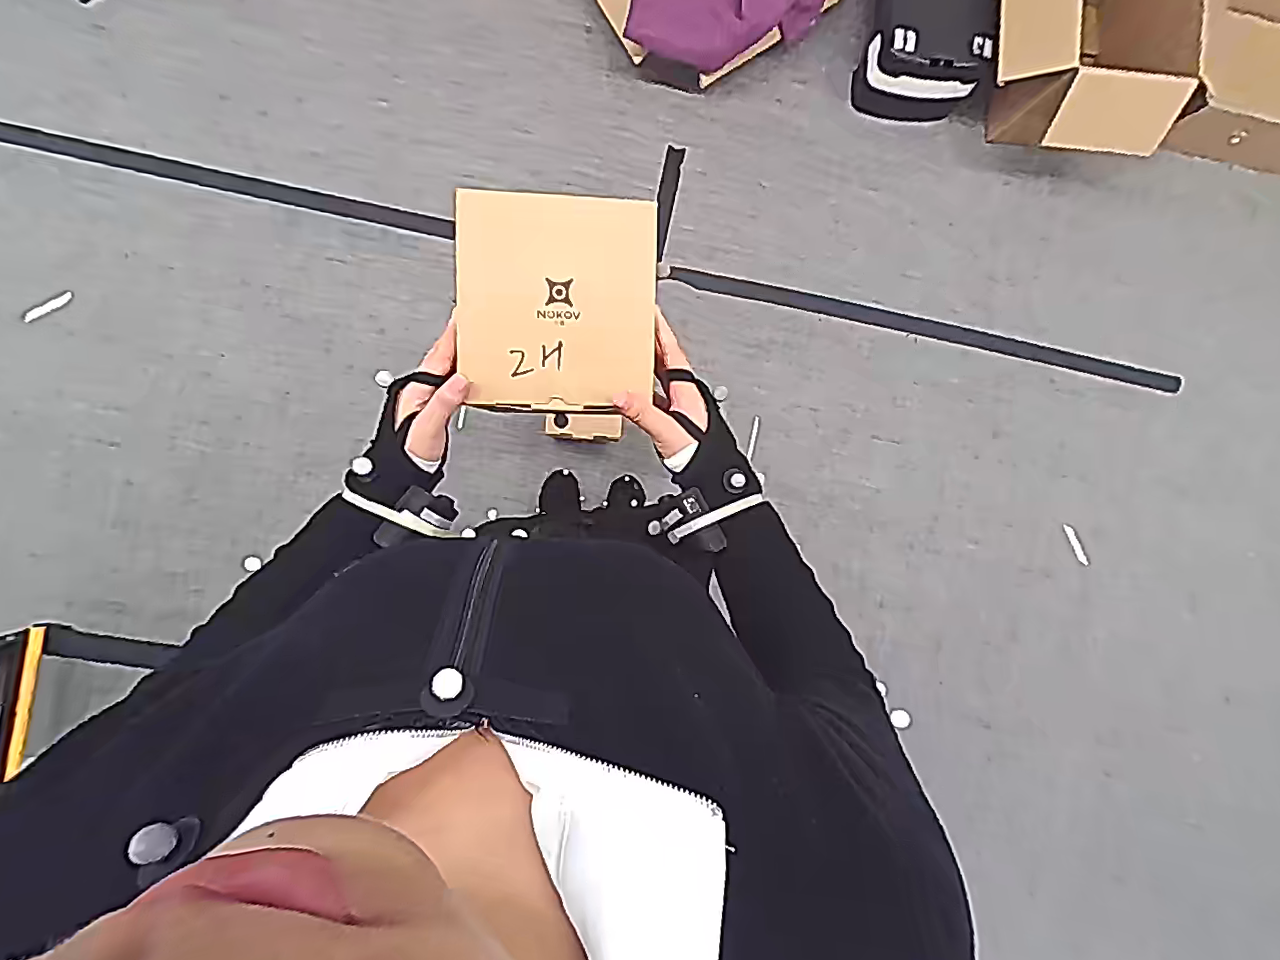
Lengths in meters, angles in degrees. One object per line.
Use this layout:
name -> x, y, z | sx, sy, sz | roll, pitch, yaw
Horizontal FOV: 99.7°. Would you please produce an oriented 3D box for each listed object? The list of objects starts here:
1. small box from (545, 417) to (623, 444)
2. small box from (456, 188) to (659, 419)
small box -> -0.120, -0.177, 1.247 | 0.168, 0.176, 0.179 | 4, 92, -3
small box -> -0.076, -0.153, 0.528 | 0.168, 0.176, 0.179 | 1, 95, -5
